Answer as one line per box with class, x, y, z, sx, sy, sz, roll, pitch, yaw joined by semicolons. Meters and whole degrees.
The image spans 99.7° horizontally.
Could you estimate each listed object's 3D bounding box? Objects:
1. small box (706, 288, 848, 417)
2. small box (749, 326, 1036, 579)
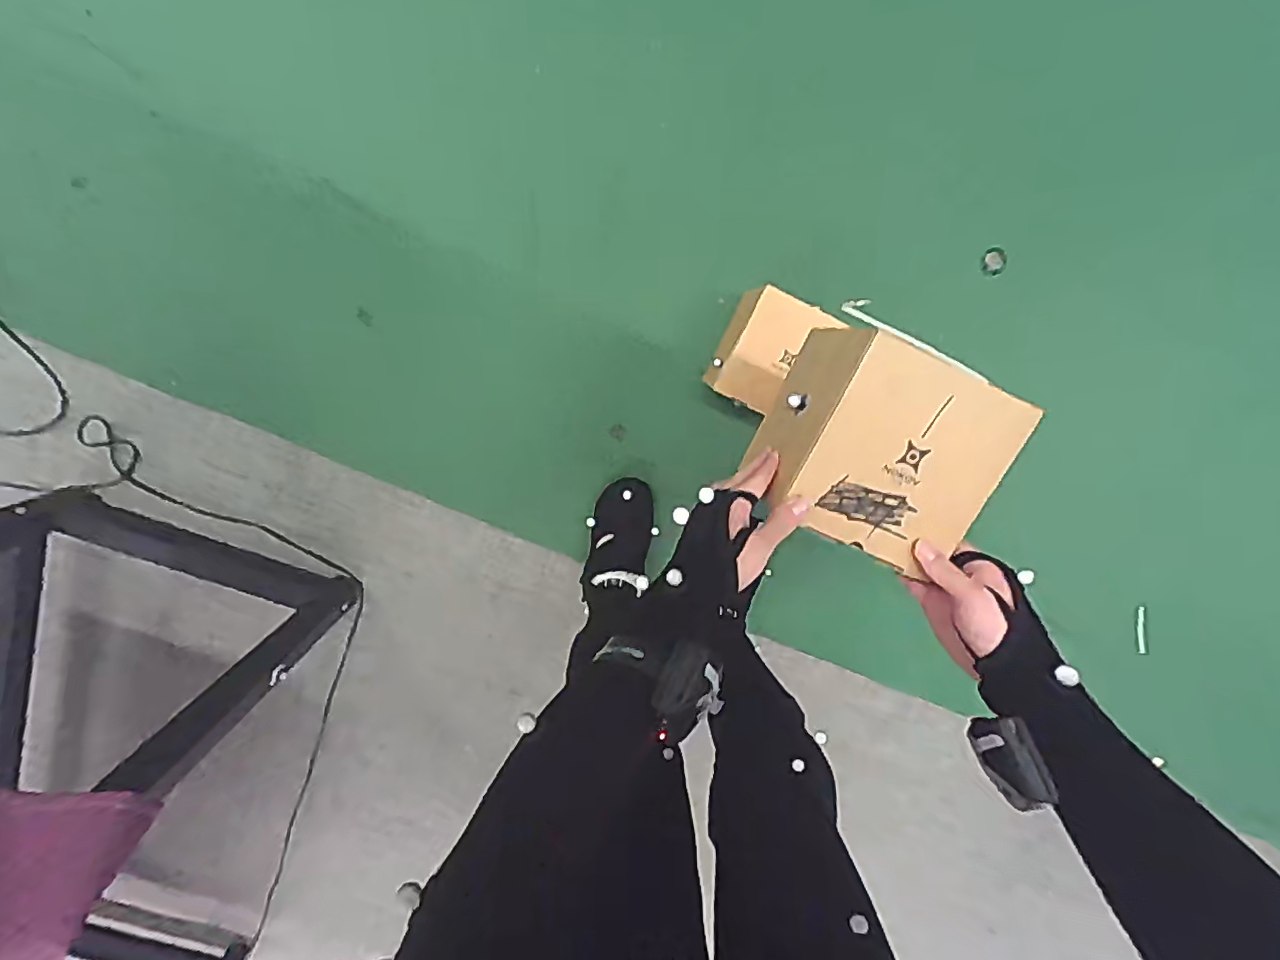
small box;0.223;-0.201;0.909;0.168;0.176;0.179;24;105;-7
small box;0.225;-0.036;0.542;0.168;0.176;0.179;24;102;-8
